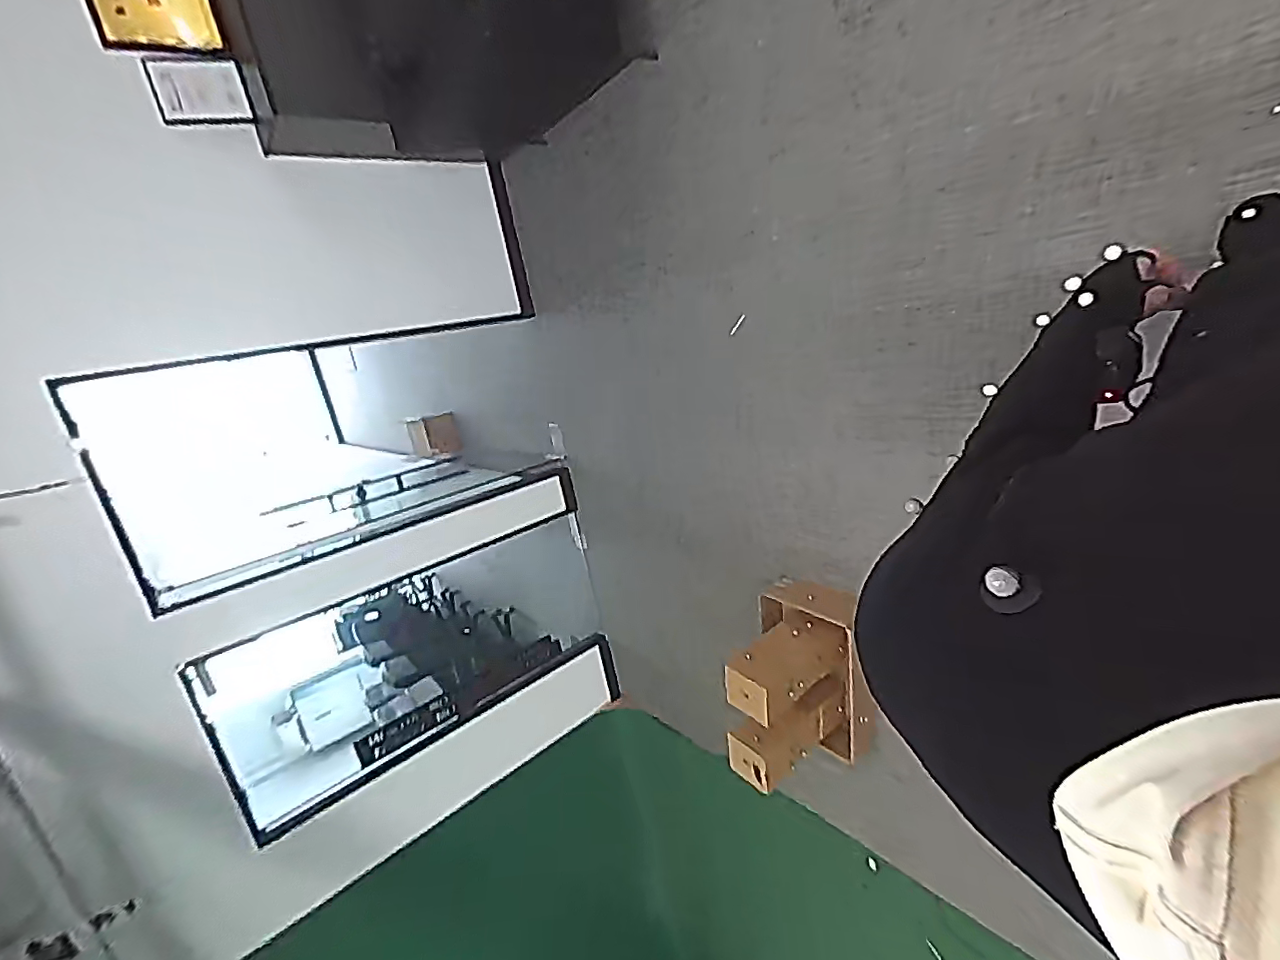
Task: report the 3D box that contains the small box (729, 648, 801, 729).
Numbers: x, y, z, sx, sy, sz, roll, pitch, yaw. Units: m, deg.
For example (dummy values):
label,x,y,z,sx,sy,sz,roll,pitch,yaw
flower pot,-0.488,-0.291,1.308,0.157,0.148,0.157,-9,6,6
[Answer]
label,x,y,z,sx,sy,sz,roll,pitch,yaw
small box,0.428,0.704,1.854,0.179,0.176,0.168,18,121,47

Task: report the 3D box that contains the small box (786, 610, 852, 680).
label,x,y,z,sx,sy,sz,roll,pitch,yaw
small box,0.677,0.614,2.045,0.179,0.176,0.168,15,119,49

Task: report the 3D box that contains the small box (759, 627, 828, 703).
label,x,y,z,sx,sy,sz,roll,pitch,yaw
small box,0.552,0.655,1.948,0.179,0.176,0.168,18,121,49

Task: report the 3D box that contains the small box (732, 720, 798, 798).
label,x,y,z,sx,sy,sz,roll,pitch,yaw
small box,0.457,0.990,1.957,0.179,0.176,0.168,16,119,51

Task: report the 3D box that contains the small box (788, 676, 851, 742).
label,x,y,z,sx,sy,sz,roll,pitch,yaw
small box,0.709,0.887,2.141,0.179,0.176,0.168,16,119,49
